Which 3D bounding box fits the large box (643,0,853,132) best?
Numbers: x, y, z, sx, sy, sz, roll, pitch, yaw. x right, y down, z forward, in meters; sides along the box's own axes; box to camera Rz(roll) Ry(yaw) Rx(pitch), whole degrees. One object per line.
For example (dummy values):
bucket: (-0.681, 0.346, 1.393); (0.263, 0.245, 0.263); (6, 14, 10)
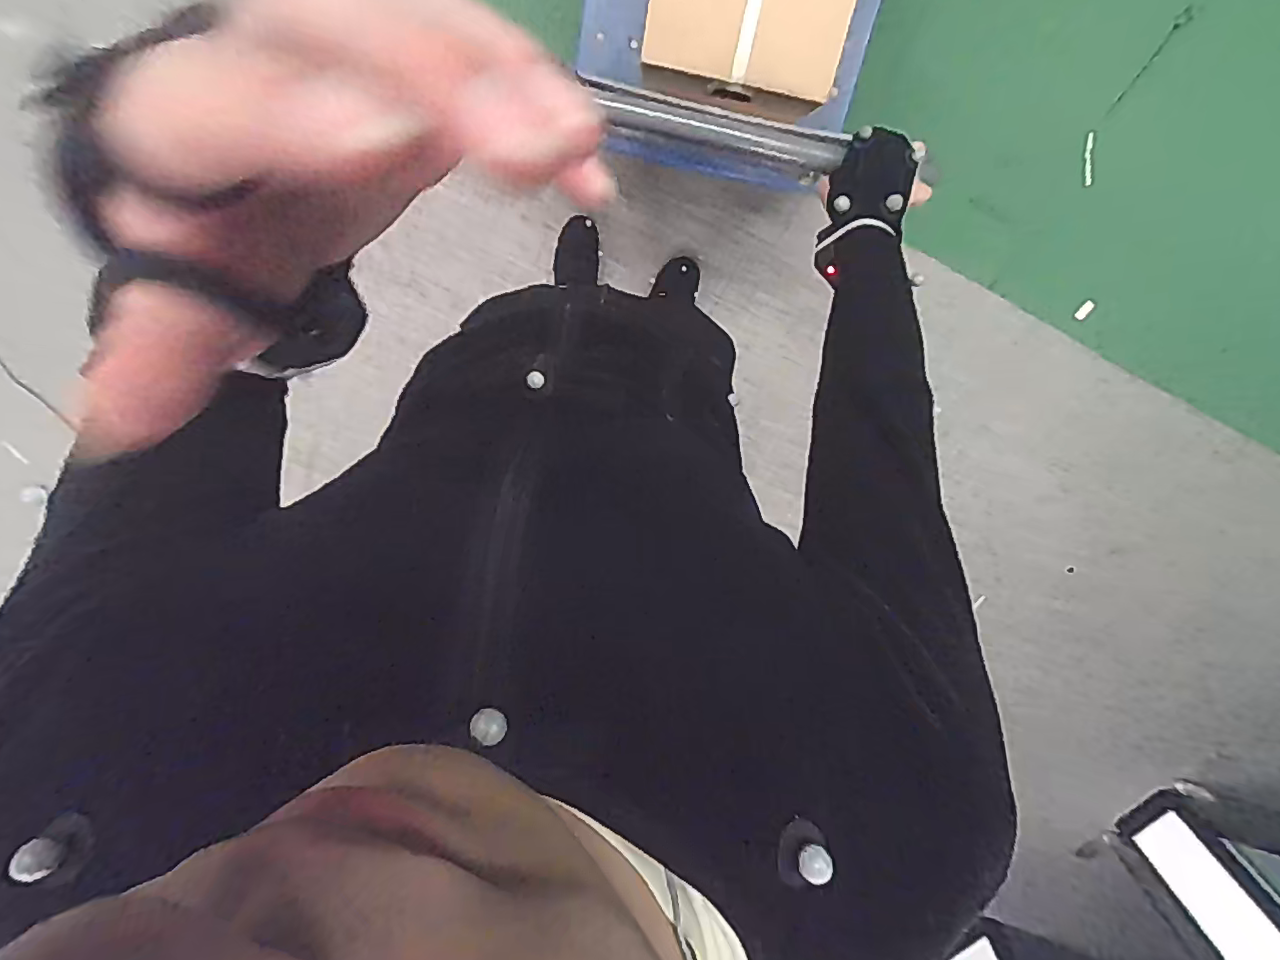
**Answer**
large box: (0.194, -0.880, 0.935); (0.320, 0.320, 0.408); (11, 115, -3)
